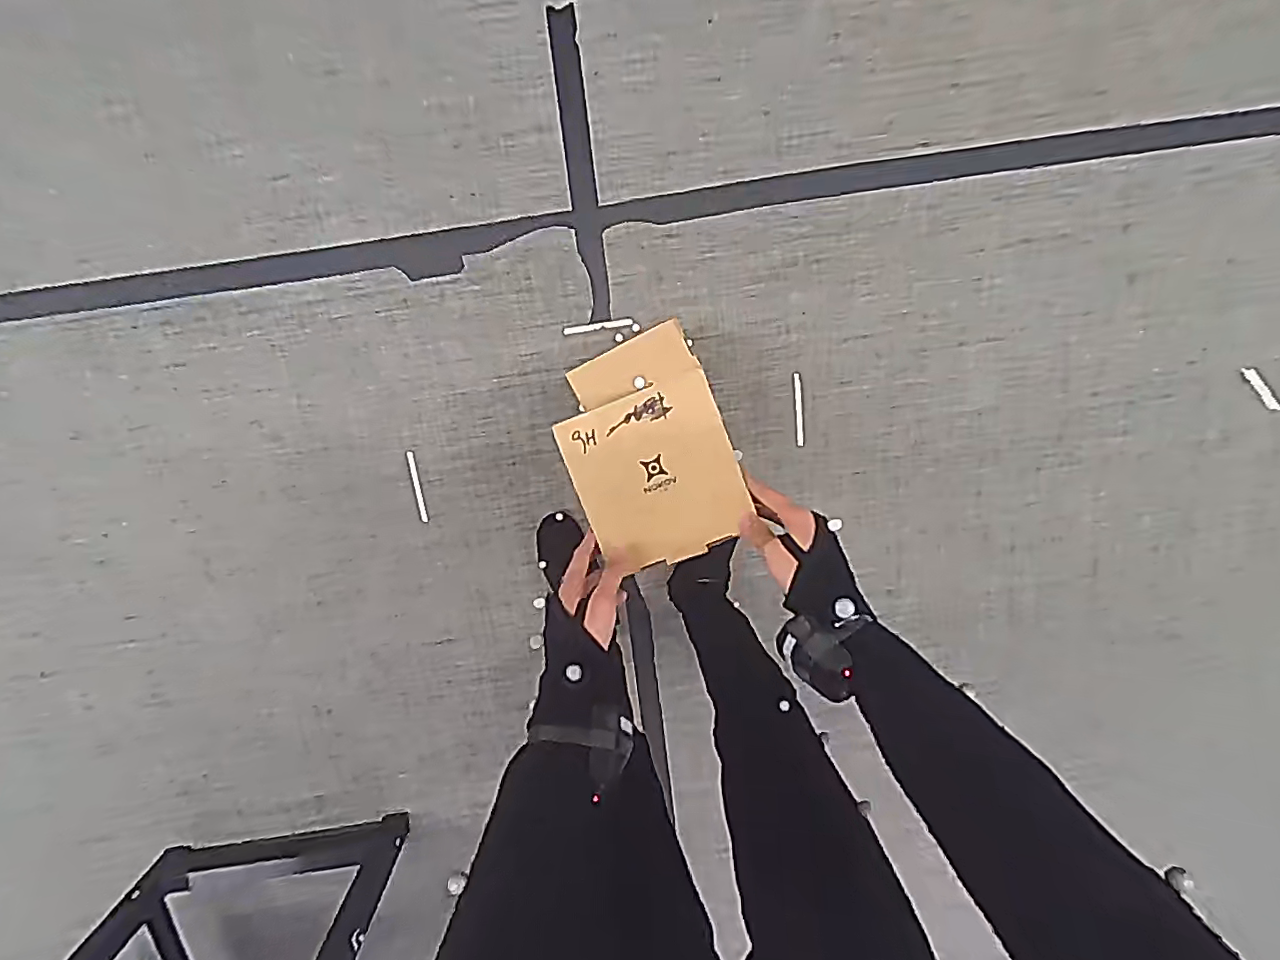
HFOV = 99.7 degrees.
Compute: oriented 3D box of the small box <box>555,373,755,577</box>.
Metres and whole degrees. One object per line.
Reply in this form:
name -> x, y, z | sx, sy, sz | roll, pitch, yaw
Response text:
small box -> 0.022, -0.014, 0.636 | 0.168, 0.176, 0.179 | -21, 96, 6
